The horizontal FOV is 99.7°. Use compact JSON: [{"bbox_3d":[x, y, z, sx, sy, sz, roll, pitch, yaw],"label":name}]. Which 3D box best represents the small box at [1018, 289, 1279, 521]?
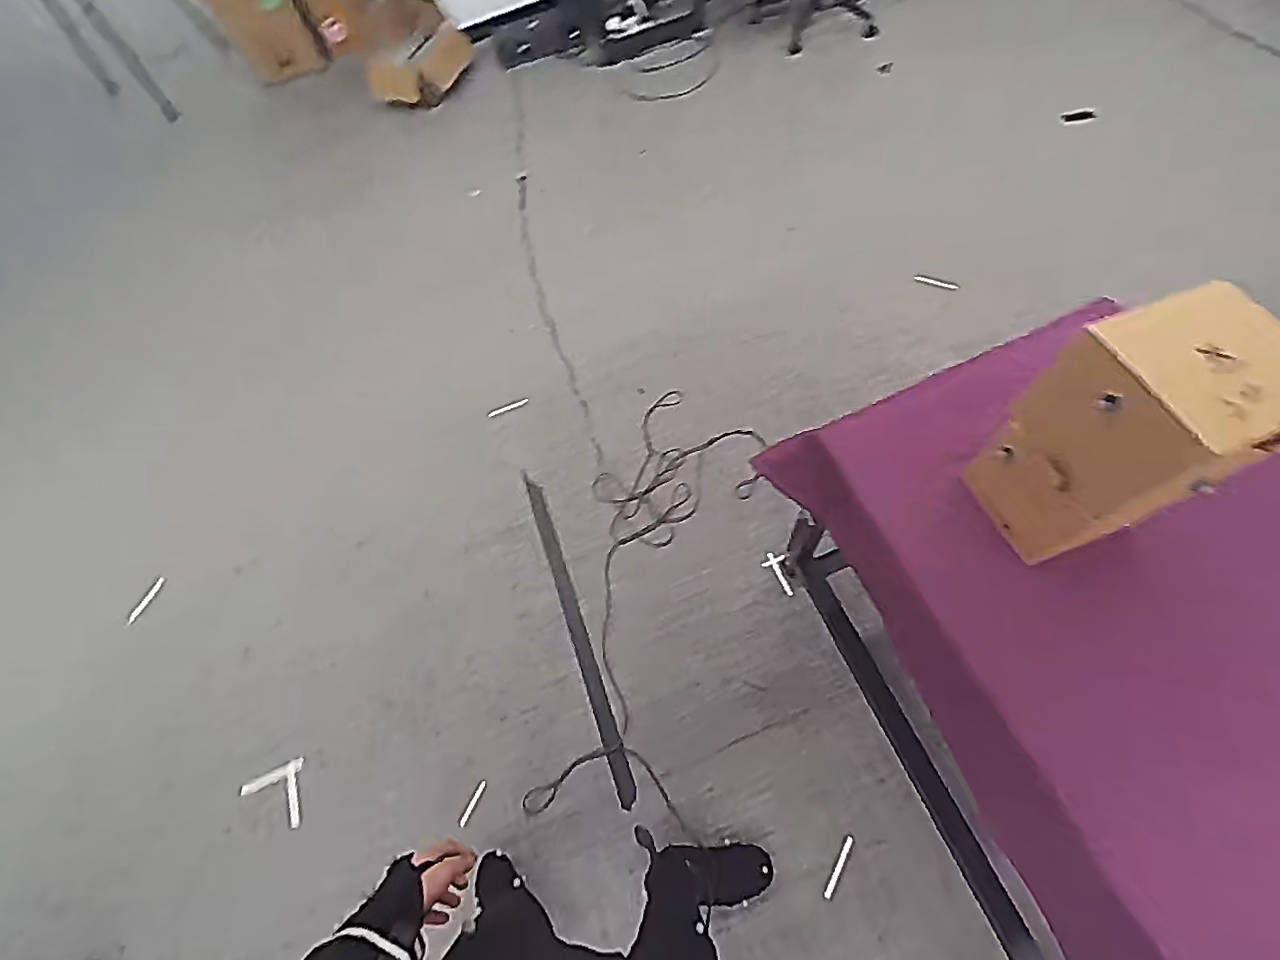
[{"bbox_3d":[0.591,-0.079,0.622,0.168,0.176,0.179,-19,63,-2],"label":"small box"}]
